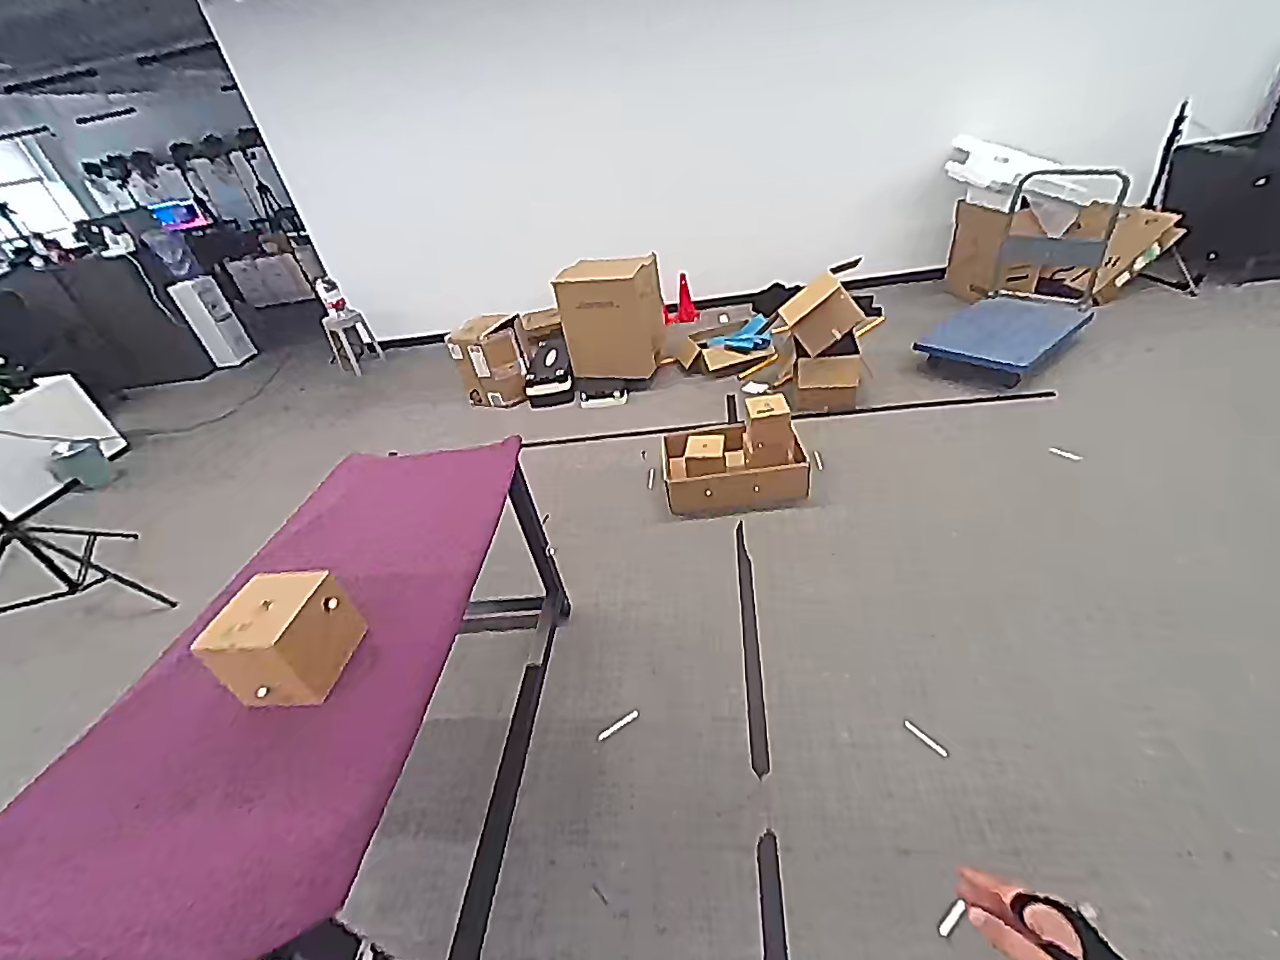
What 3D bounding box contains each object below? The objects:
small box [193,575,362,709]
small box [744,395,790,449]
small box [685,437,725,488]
[{"bbox_3d":[-0.656,0.300,1.010,0.168,0.176,0.179,-5,35,10],"label":"small box"},{"bbox_3d":[0.550,-0.246,2.339,0.168,0.176,0.179,-7,34,6],"label":"small box"},{"bbox_3d":[0.301,-0.081,2.467,0.168,0.176,0.179,0,36,13],"label":"small box"}]
